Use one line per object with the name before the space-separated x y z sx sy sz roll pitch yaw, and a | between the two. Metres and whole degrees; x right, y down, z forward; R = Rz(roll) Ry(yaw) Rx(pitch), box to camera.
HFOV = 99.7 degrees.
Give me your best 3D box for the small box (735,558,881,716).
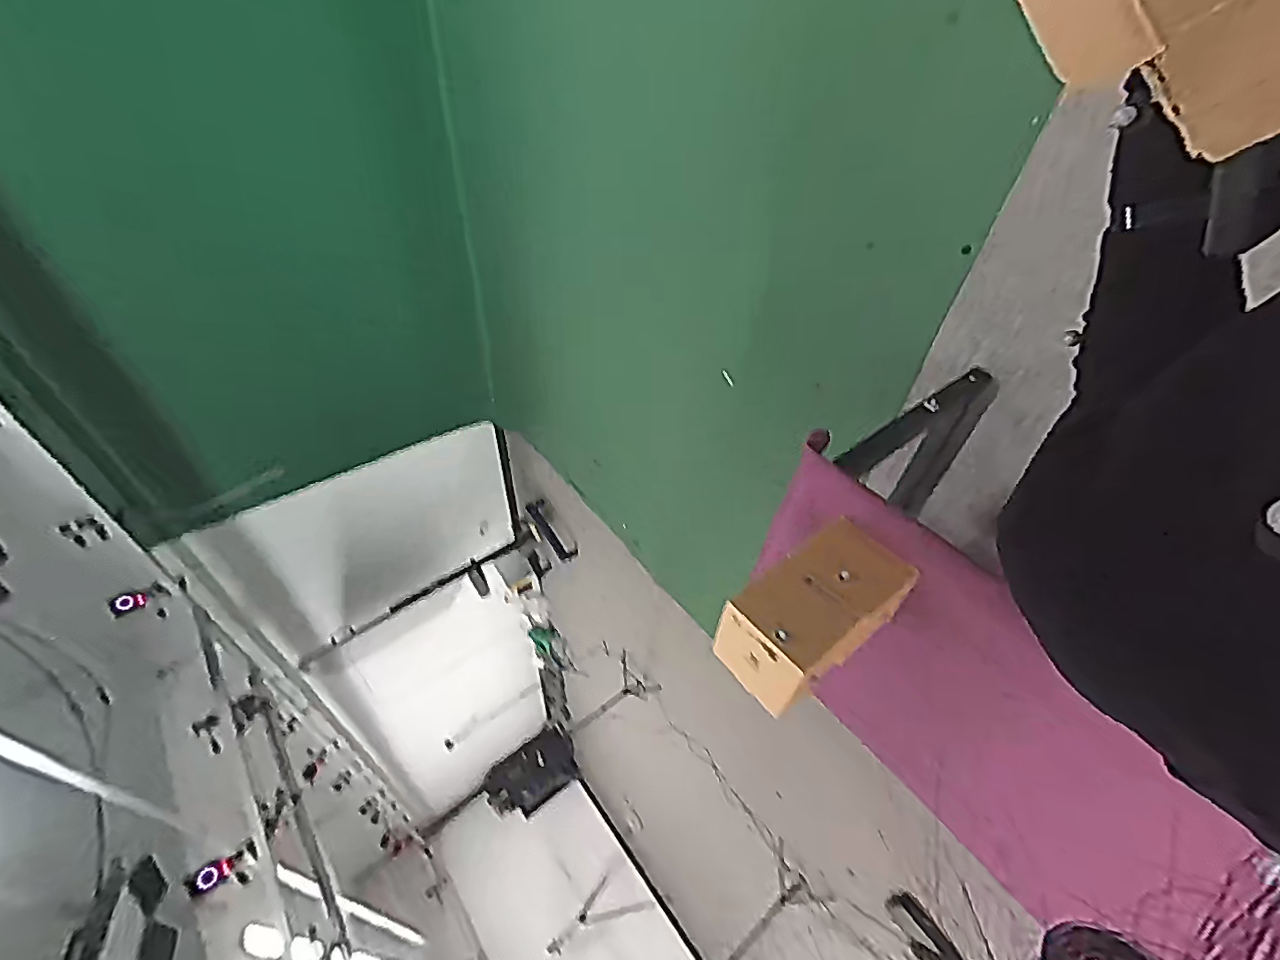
small box | 0.297 0.275 0.965 0.168 0.176 0.179 41 146 32
